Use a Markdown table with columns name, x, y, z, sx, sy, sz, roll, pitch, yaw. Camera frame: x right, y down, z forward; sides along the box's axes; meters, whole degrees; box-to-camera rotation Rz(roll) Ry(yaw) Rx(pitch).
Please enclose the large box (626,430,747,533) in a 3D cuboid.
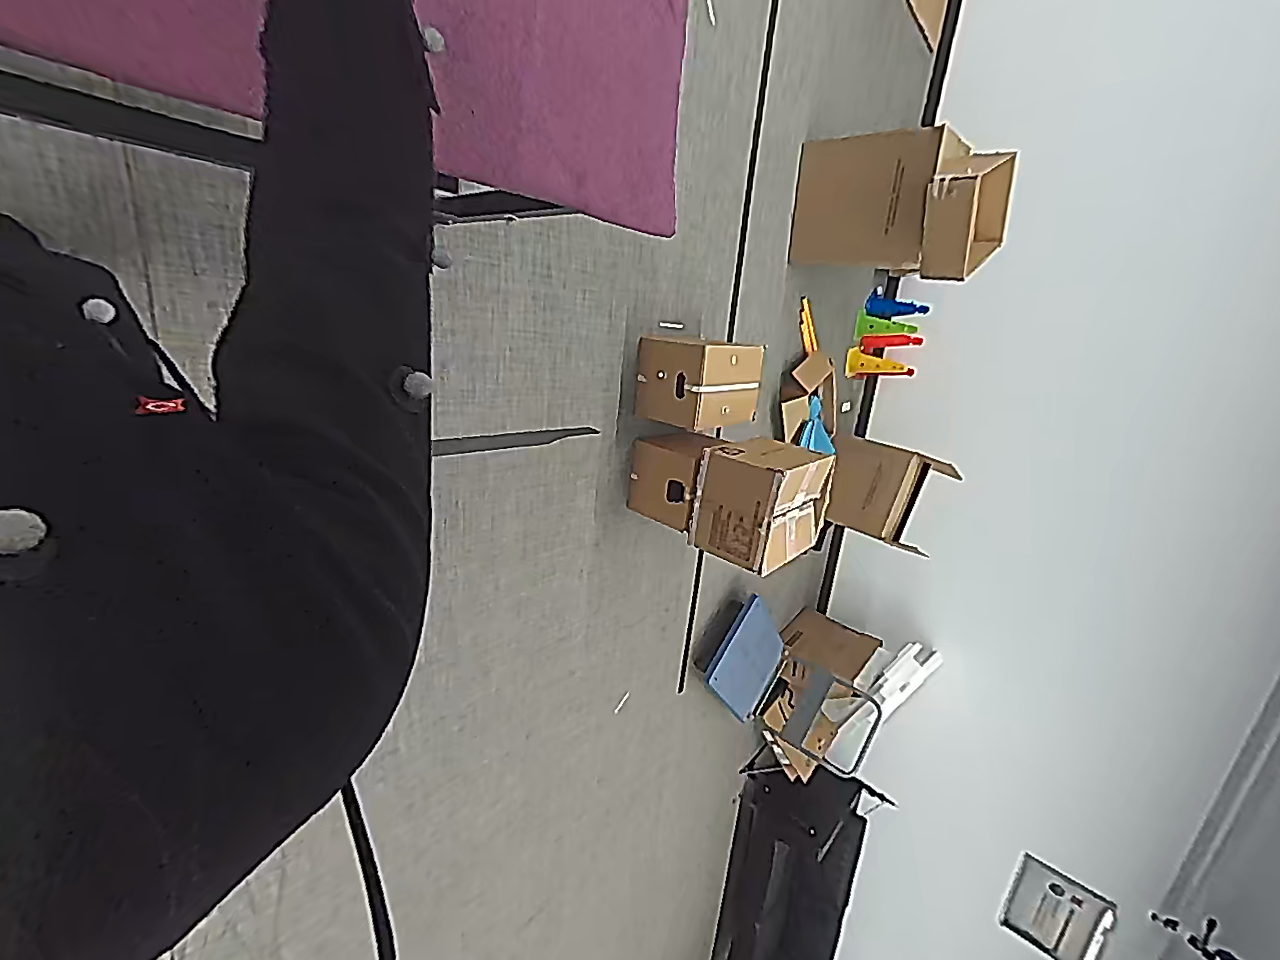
| name | x | y | z | sx | sy | sz | roll | pitch | yaw |
| --- | --- | --- | --- | --- | --- | --- | --- | --- | --- |
| large box | 0.196 | -0.014 | 2.290 | 0.408 | 0.320 | 0.320 | -13 | 116 | -46 |
